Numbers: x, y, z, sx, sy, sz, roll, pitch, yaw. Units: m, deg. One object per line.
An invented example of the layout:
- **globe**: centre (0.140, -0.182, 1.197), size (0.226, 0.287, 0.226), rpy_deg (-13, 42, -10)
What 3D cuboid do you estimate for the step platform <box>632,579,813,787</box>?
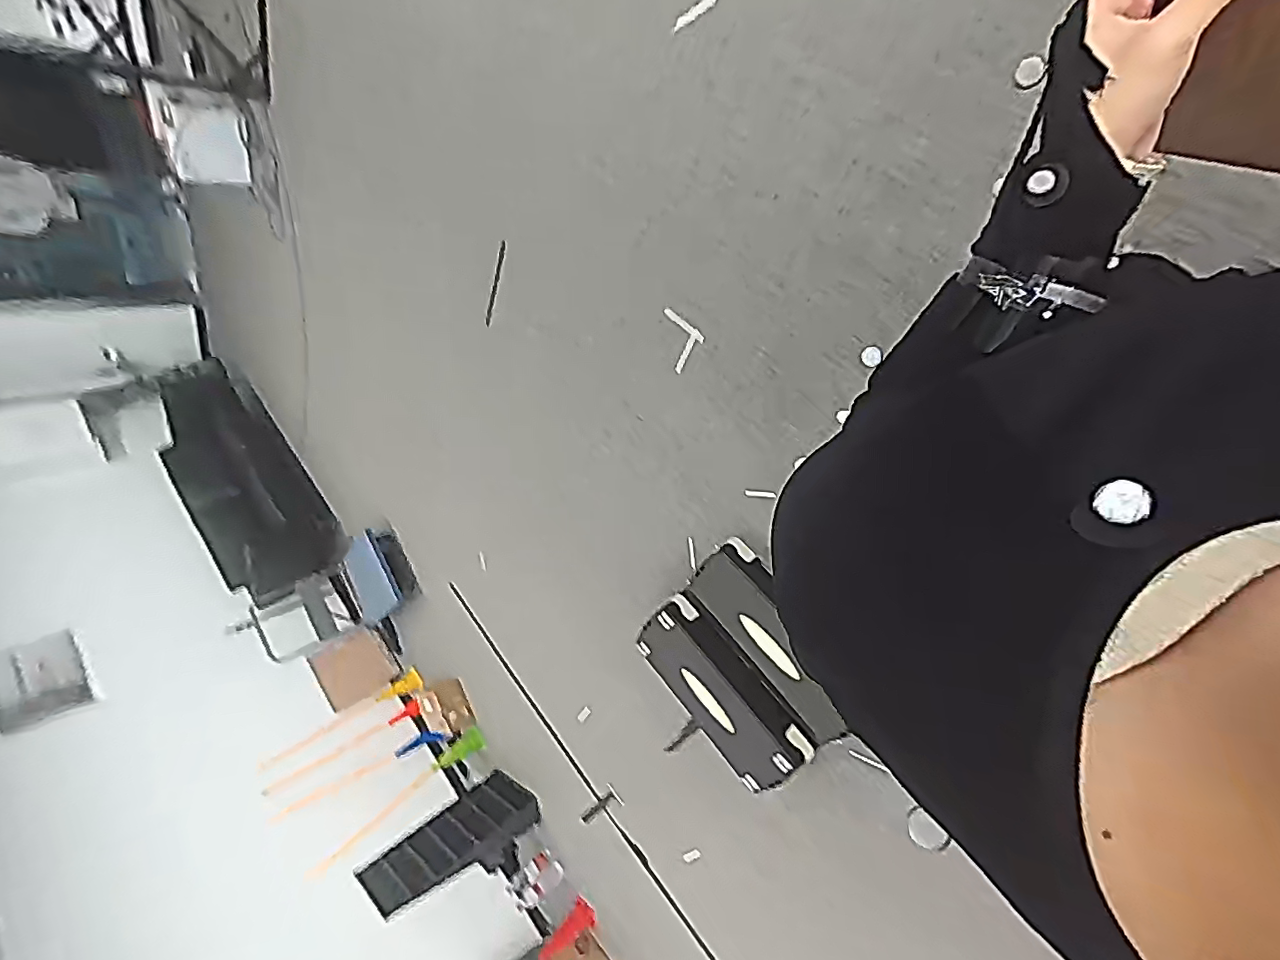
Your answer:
- **step platform**: centre (0.266, 0.698, 1.879), size (0.684, 0.204, 0.286), rpy_deg (53, 134, 17)
